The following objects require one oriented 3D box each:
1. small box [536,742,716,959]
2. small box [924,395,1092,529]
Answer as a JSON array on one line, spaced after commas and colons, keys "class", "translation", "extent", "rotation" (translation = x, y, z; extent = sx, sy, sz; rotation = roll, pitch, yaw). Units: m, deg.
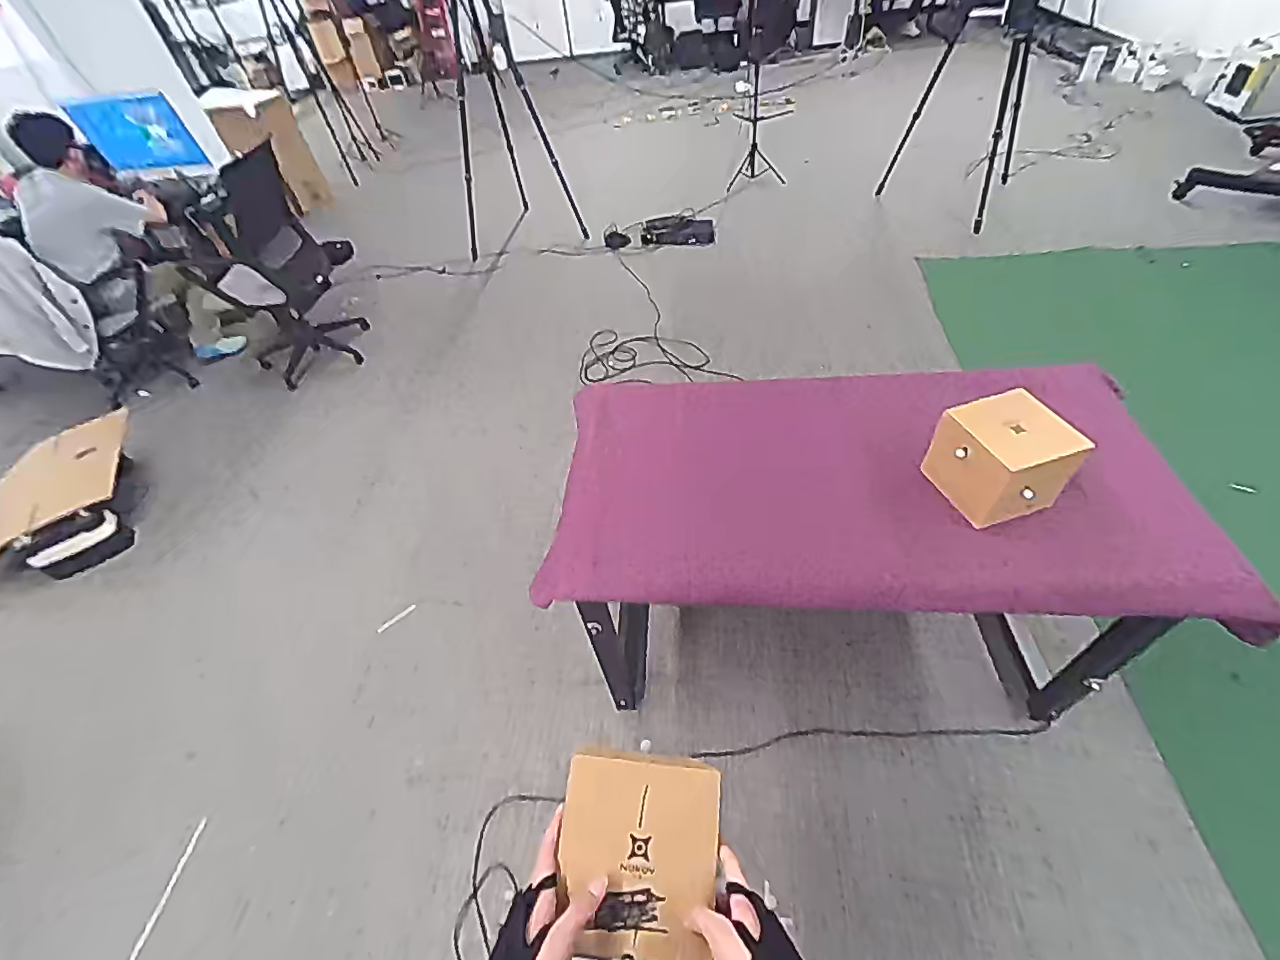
[{"class": "small box", "translation": [-0.014, 0.412, 0.623], "extent": [0.168, 0.176, 0.179], "rotation": [8, 66, -1]}, {"class": "small box", "translation": [0.678, -0.027, 1.022], "extent": [0.168, 0.176, 0.179], "rotation": [-16, 47, -6]}]
